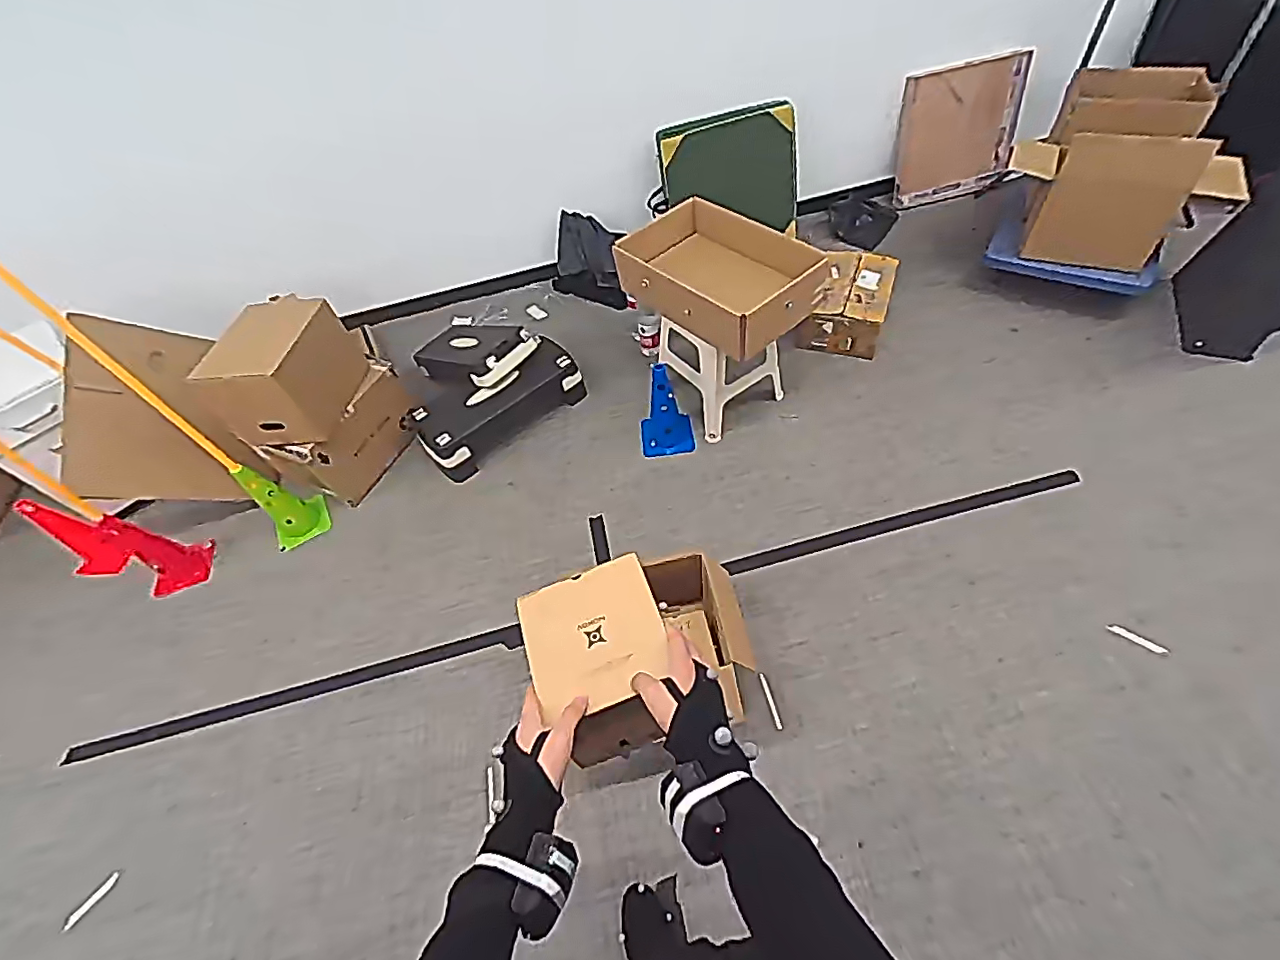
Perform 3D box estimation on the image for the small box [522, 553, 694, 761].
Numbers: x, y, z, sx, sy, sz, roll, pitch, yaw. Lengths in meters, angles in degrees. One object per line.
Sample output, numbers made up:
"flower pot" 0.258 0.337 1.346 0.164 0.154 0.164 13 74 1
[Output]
"small box" -0.039 0.231 0.704 0.168 0.176 0.179 -20 48 -4
